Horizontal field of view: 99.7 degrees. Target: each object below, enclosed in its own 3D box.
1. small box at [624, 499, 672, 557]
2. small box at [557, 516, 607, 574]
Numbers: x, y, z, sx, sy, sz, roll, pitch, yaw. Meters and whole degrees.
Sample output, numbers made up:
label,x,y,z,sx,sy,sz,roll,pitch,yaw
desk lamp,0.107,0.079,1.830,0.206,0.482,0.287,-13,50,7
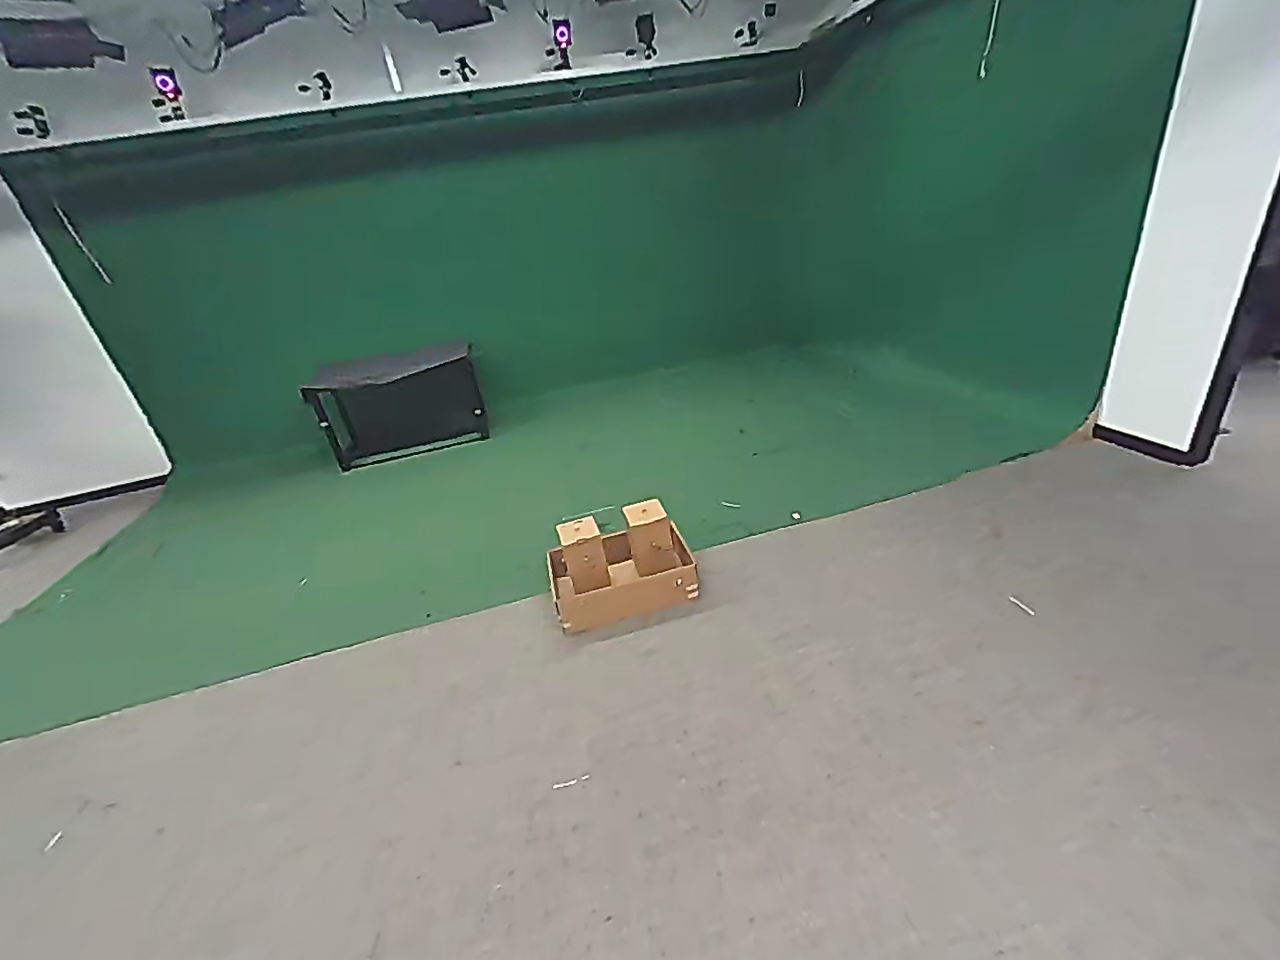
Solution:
label,x,y,z,sx,sy,sz,roll,pitch,yaw
small box,0.034,0.210,2.374,0.168,0.176,0.179,-15,29,-8
small box,-0.249,0.286,2.323,0.168,0.176,0.179,-15,29,-11
